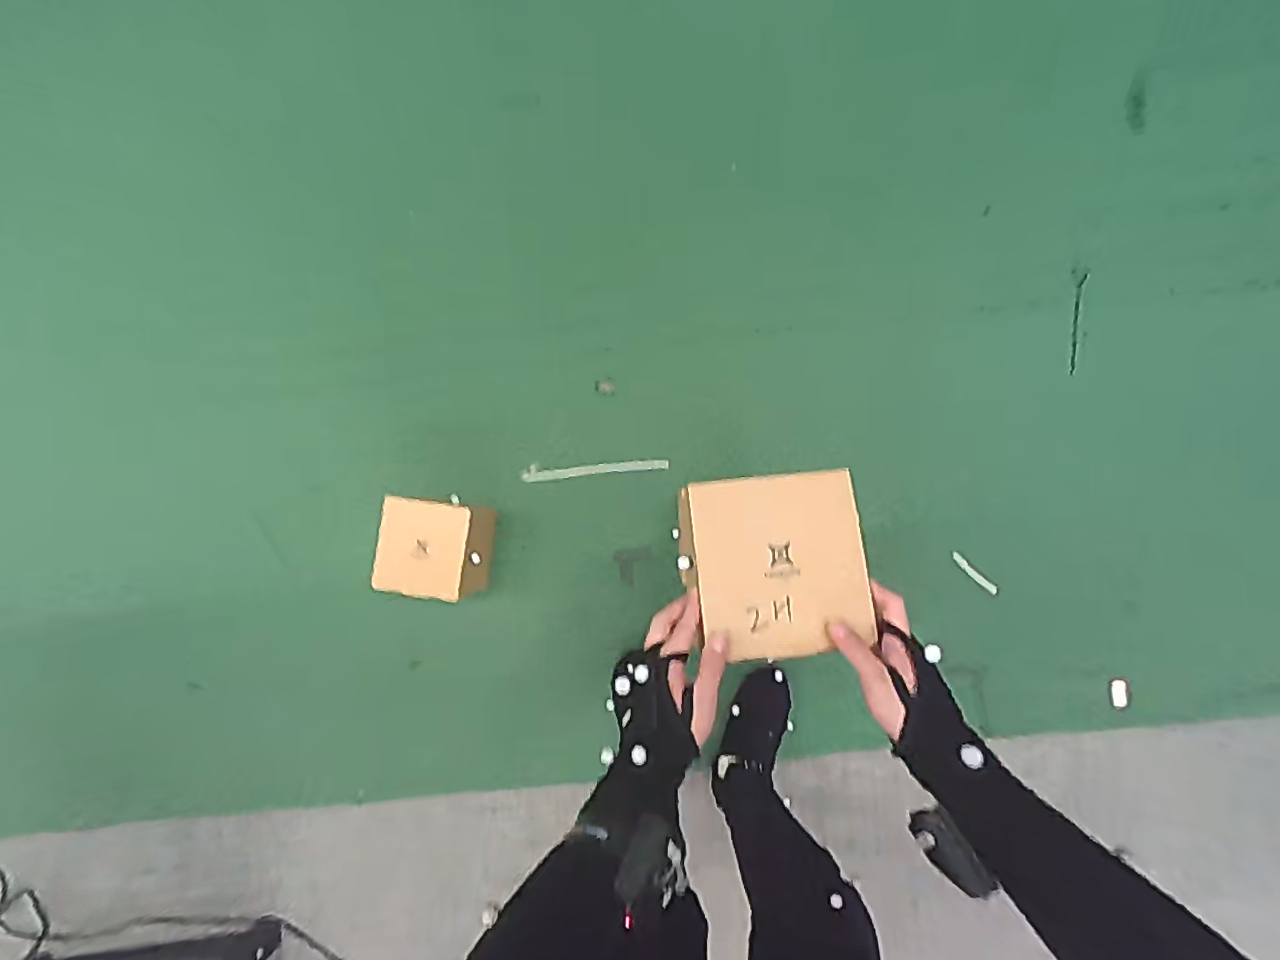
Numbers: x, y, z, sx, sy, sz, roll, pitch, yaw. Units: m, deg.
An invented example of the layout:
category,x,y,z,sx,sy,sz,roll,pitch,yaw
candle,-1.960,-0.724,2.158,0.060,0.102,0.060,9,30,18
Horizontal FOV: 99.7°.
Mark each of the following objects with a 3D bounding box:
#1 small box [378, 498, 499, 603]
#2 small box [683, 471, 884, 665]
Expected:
category,x,y,z,sx,sy,sz,roll,pitch,yaw
small box,-0.395,0.134,1.089,0.168,0.176,0.179,8,89,3
small box,0.140,0.098,0.595,0.168,0.176,0.179,-5,78,1
